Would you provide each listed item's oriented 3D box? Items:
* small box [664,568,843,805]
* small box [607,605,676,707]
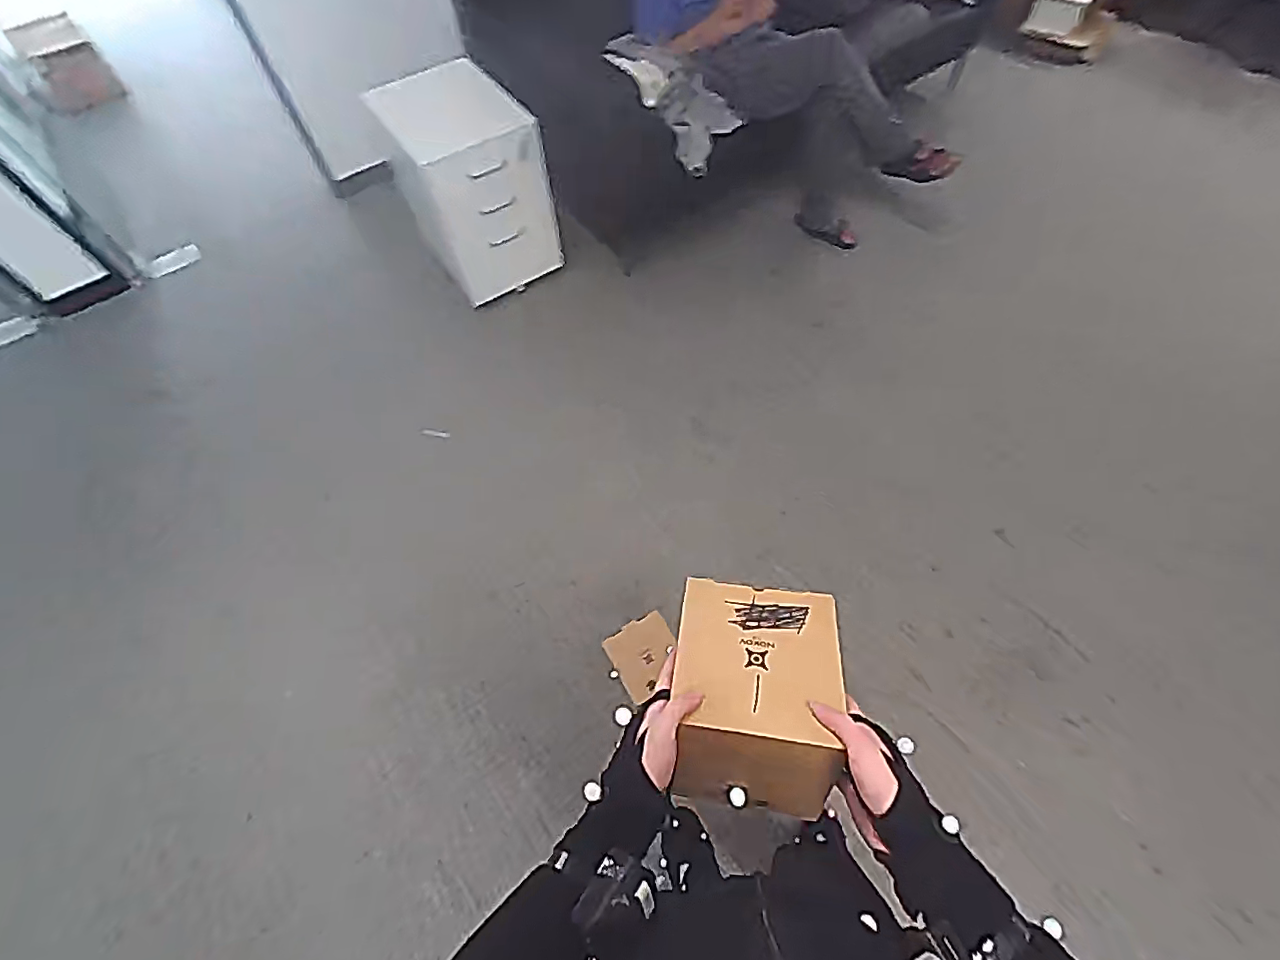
[{"bbox_3d":[0.118,0.227,0.606,0.168,0.176,0.179,5,40,9],"label":"small box"},{"bbox_3d":[0.028,0.456,1.391,0.168,0.176,0.179,-27,62,-13],"label":"small box"}]
